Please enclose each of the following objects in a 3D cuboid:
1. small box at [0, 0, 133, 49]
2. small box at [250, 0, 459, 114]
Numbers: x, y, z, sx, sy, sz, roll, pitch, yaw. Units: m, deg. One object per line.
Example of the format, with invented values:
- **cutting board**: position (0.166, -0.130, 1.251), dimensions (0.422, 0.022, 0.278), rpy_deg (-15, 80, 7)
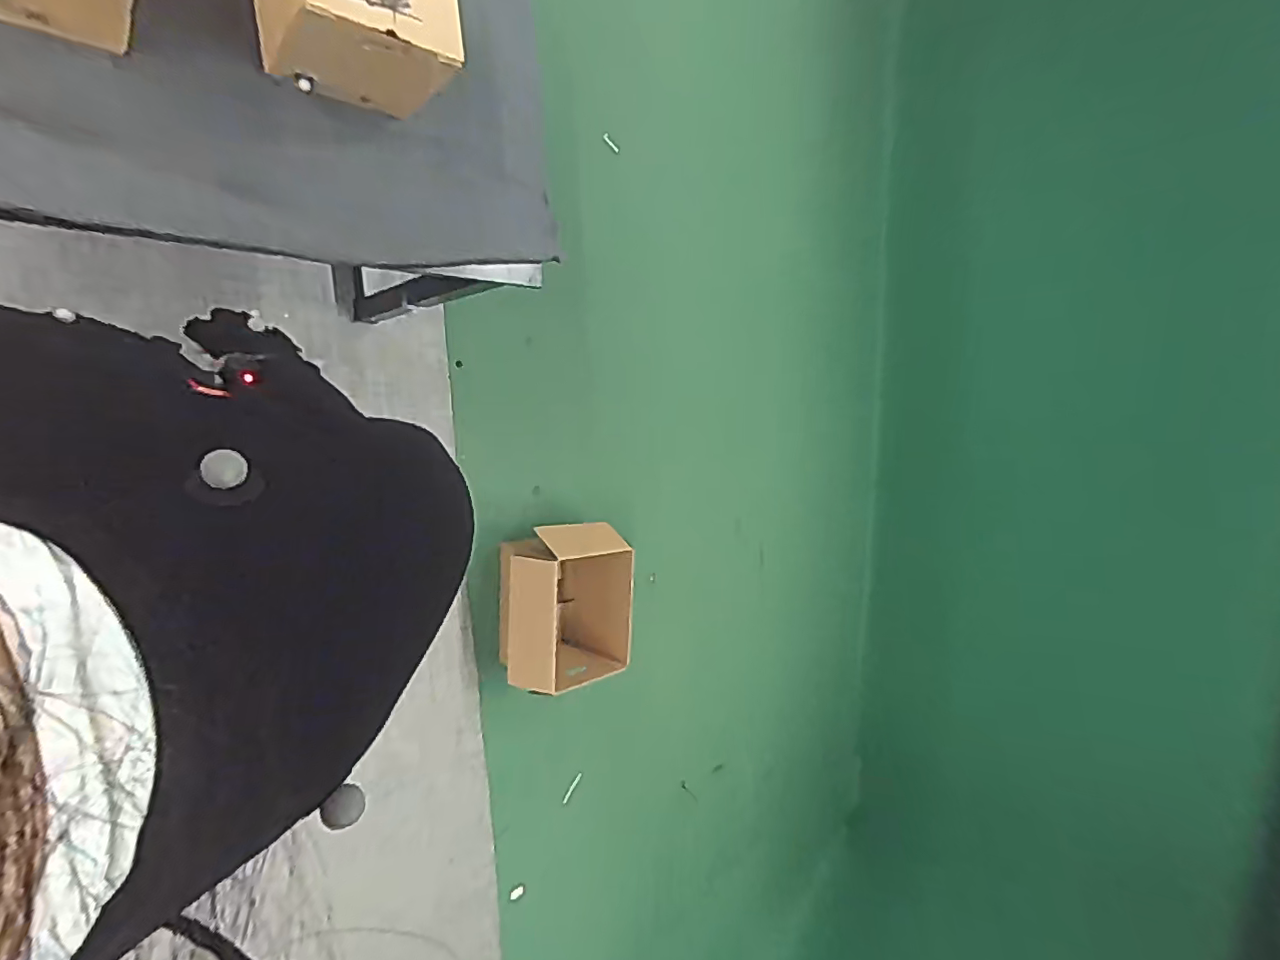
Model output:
- **small box**: position (-0.525, -0.495, 0.420), dimensions (0.168, 0.176, 0.179), rpy_deg (-14, 106, -45)
- **small box**: position (-0.328, -0.556, 0.614), dimensions (0.168, 0.176, 0.179), rpy_deg (-14, 105, -44)
